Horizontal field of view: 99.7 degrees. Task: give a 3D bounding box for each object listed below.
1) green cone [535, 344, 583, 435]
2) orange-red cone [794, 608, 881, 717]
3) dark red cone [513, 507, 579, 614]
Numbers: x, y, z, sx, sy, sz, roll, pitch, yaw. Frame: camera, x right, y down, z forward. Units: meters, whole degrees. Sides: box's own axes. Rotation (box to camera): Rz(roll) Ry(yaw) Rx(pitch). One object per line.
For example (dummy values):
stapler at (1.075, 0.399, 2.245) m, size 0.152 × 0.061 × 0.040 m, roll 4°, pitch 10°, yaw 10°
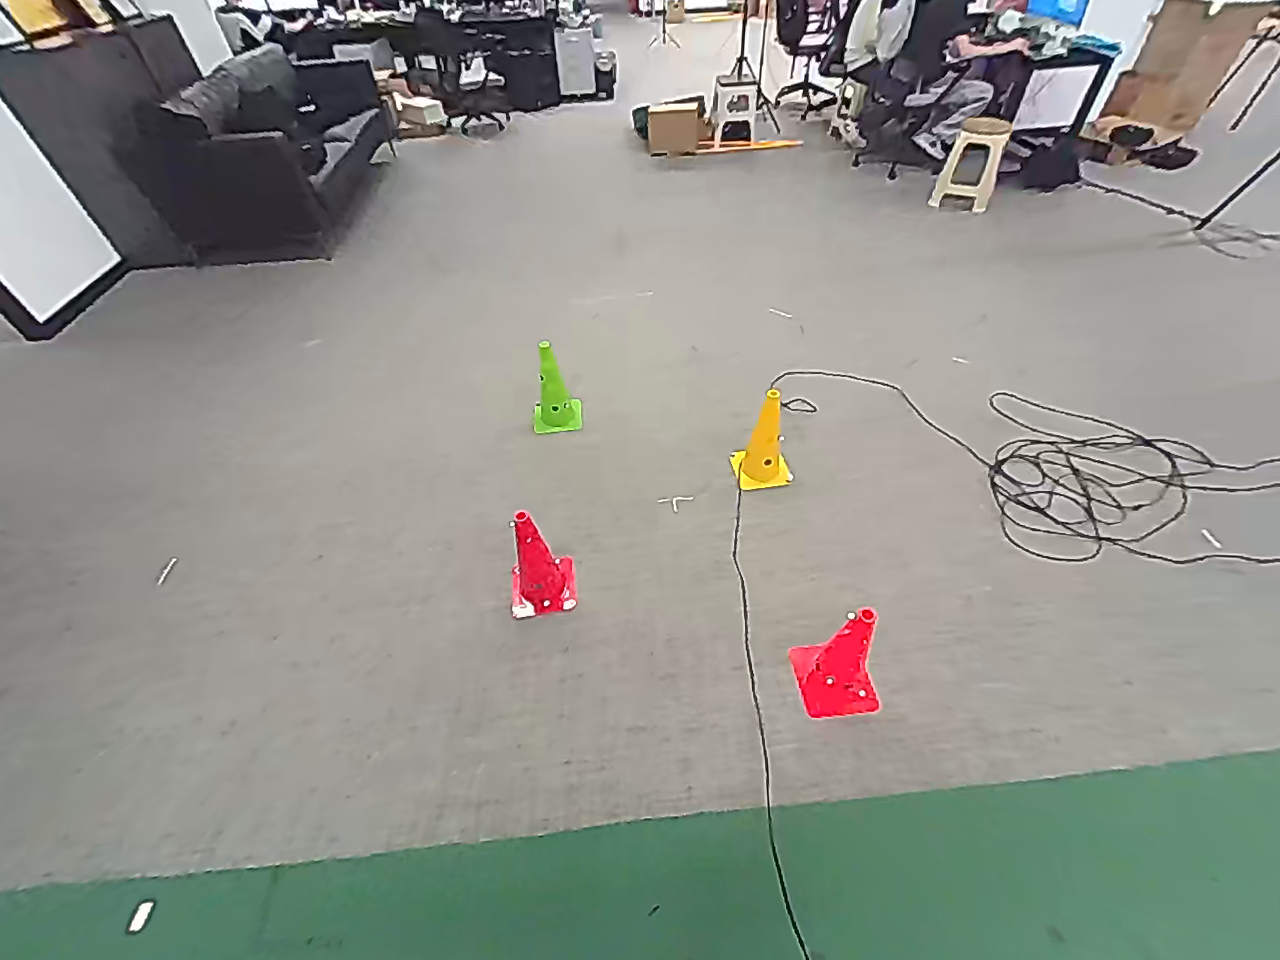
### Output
green cone at (-0.351, -0.381, 2.185) m, size 0.202 × 0.368 × 0.200 m, roll -6°, pitch 47°, yaw -4°
orange-red cone at (0.531, 0.427, 1.359) m, size 0.198 × 0.360 × 0.199 m, roll -5°, pitch 46°, yaw -2°
dark red cone at (-0.306, 0.215, 1.584) m, size 0.202 × 0.394 × 0.201 m, roll -10°, pitch 48°, yaw -5°
